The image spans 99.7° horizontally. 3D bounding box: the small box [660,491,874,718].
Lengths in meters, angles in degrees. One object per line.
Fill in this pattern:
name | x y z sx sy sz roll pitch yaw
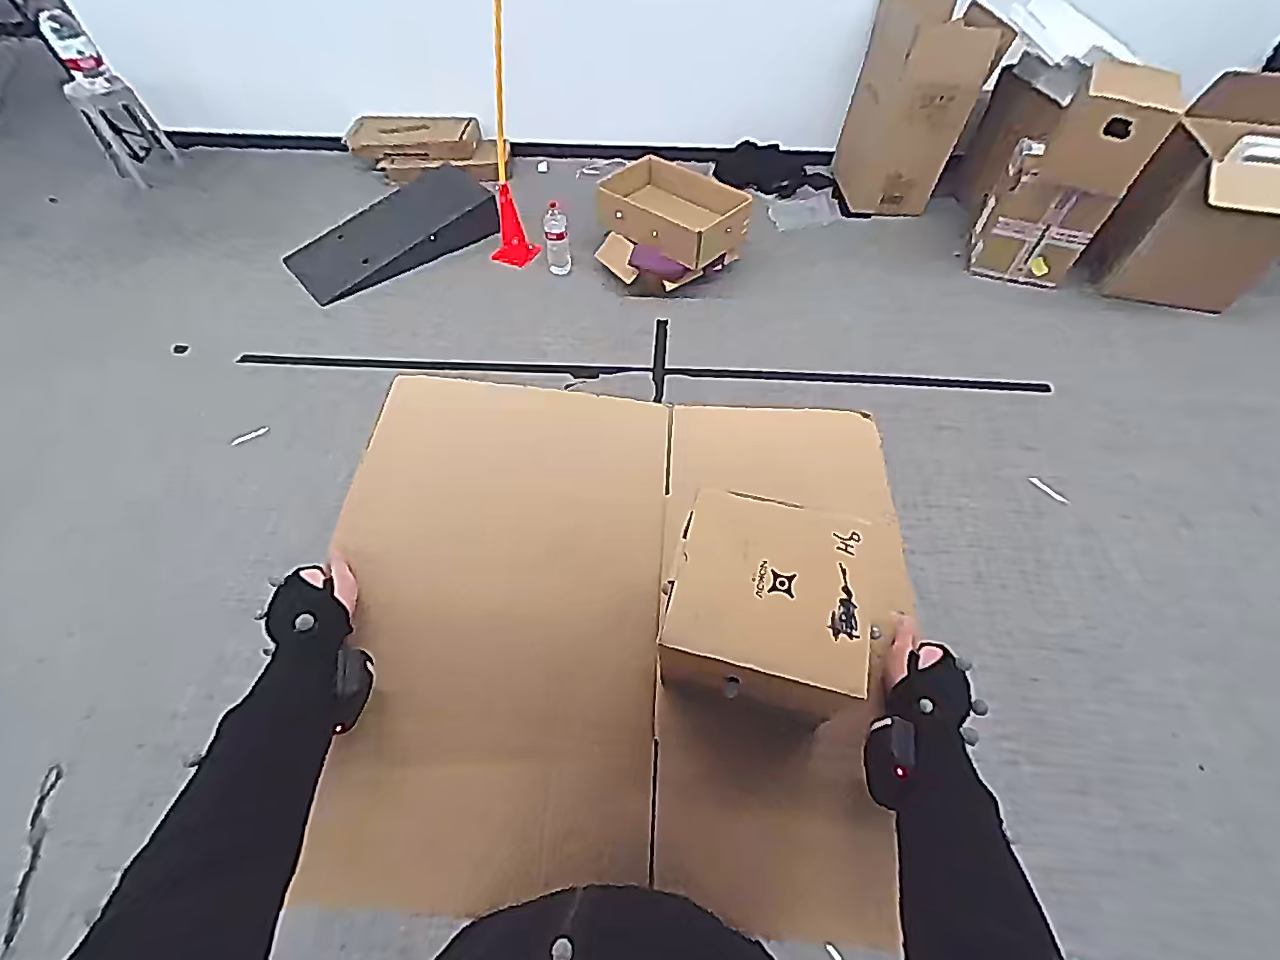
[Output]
small box | 0.127 0.136 0.566 0.179 0.176 0.168 11 60 11
